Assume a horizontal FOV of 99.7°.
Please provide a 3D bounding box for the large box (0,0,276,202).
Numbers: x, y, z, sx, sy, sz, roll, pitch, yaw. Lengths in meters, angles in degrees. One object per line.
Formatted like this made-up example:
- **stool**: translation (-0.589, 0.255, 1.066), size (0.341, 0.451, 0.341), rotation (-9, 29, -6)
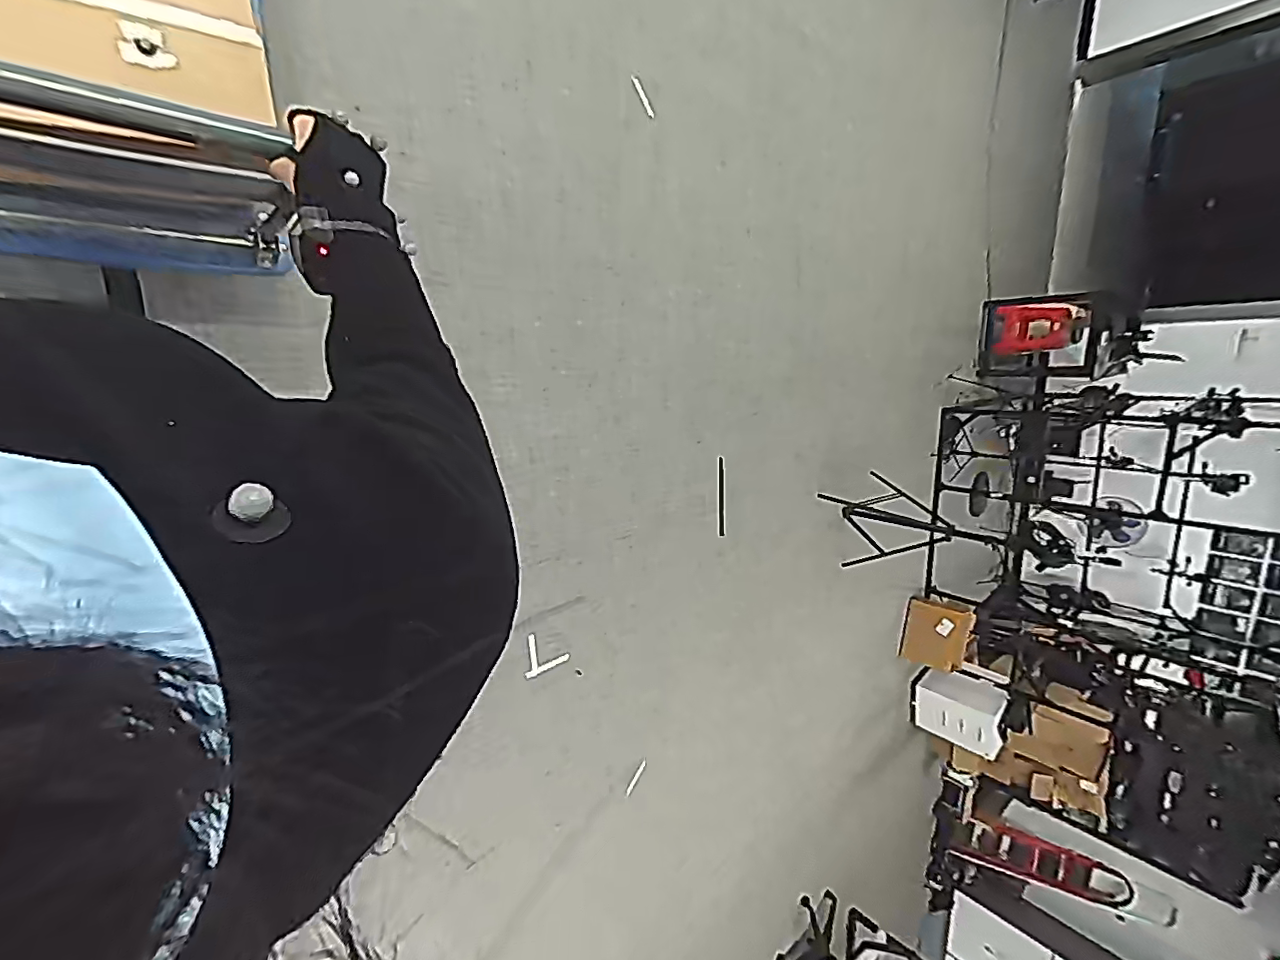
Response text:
- **large box**: translation (-0.816, -0.618, 0.772), size (0.408, 0.320, 0.320), rotation (-16, 109, -41)
